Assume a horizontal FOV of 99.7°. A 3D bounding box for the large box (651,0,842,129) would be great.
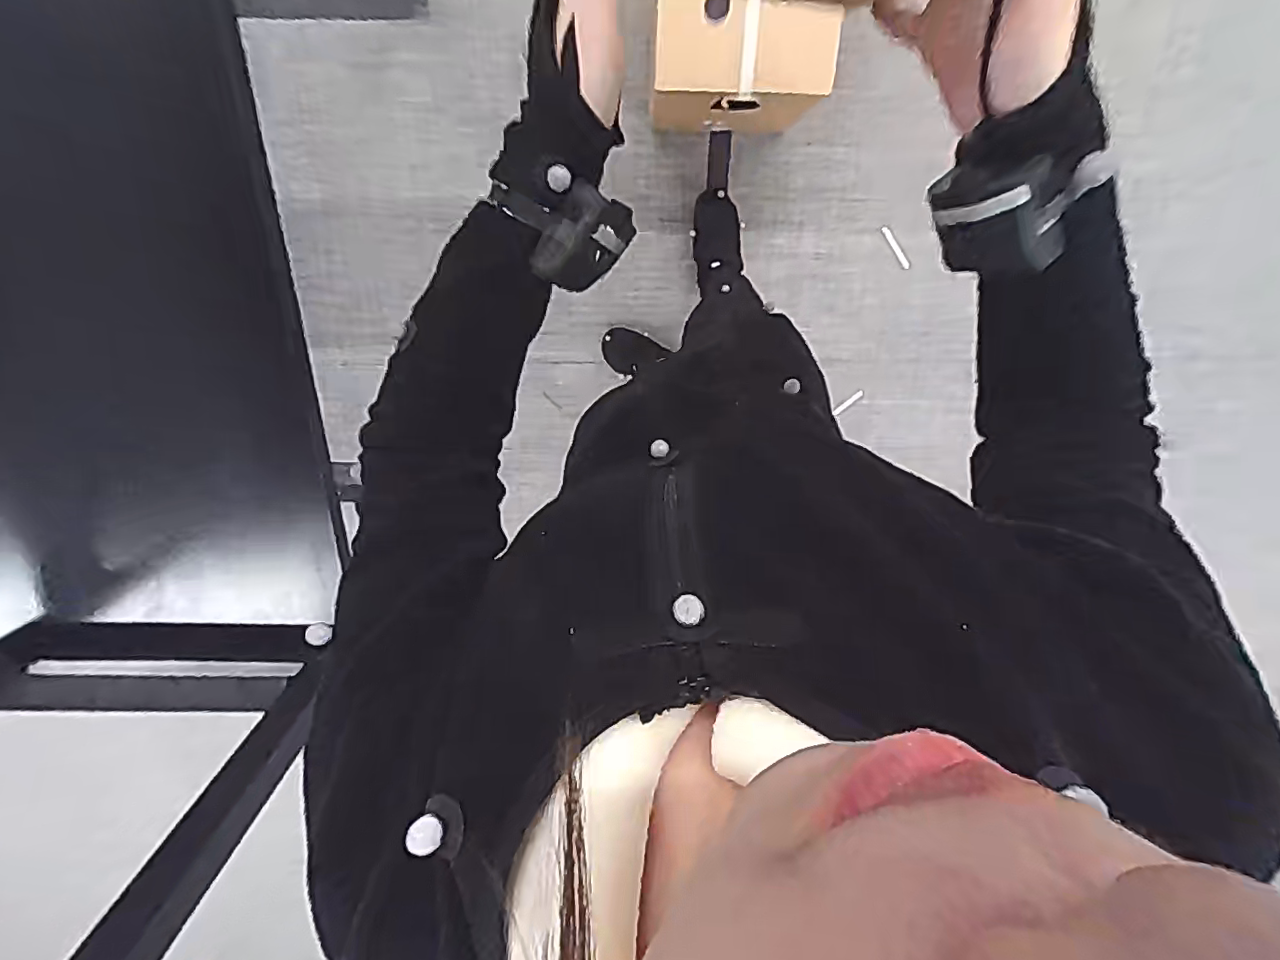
[{"bbox_3d":[0.177,-0.911,0.995,0.320,0.320,0.408,0,112,-2],"label":"large box"}]
